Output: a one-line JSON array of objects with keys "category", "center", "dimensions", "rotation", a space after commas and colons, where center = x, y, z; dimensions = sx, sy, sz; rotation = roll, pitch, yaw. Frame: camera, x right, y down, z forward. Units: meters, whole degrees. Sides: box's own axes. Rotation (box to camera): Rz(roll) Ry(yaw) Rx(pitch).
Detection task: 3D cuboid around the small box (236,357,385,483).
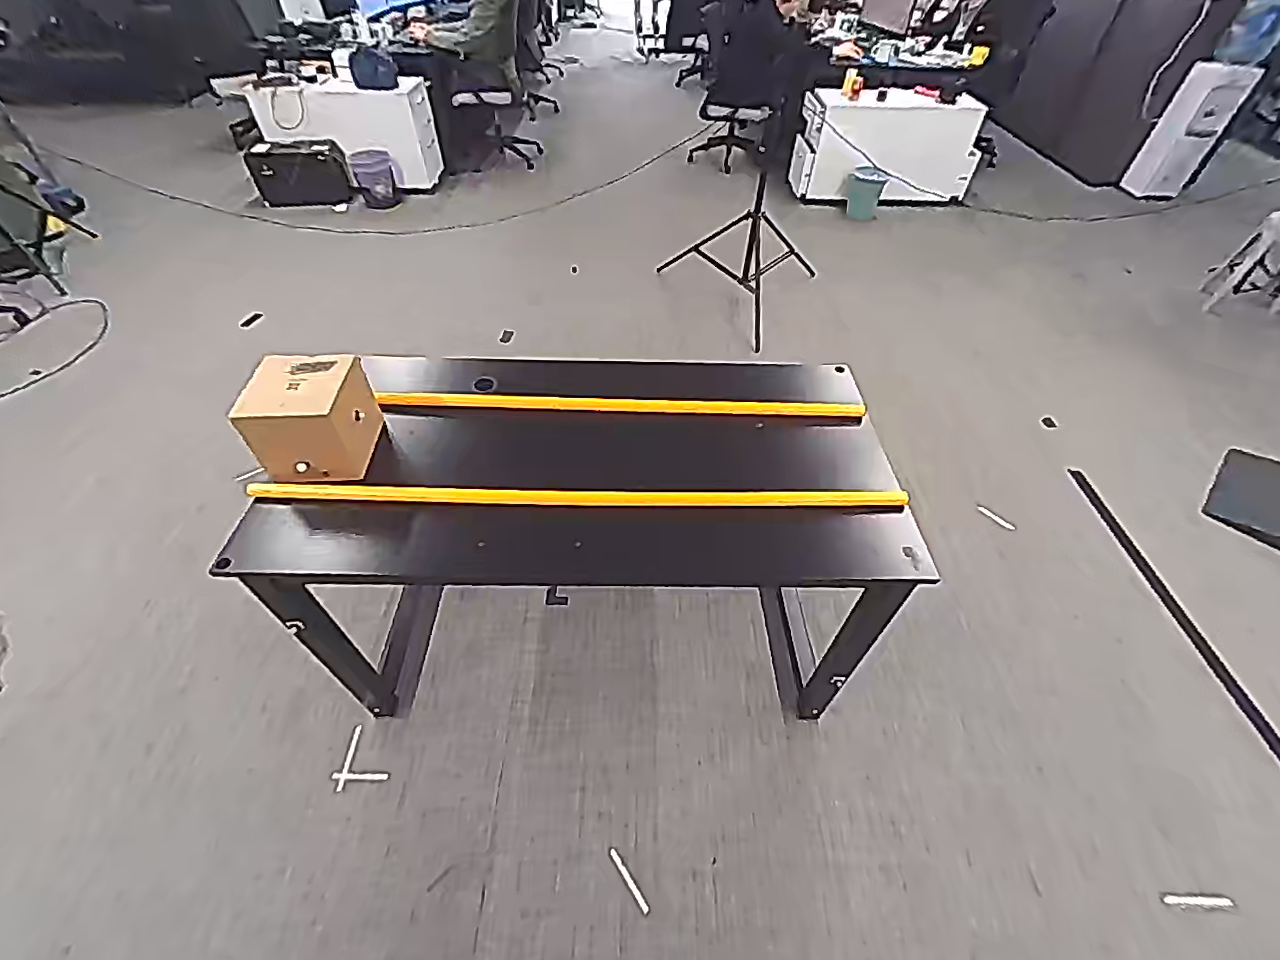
[{"category": "small box", "center": [-0.605, -0.114, 1.025], "dimensions": [0.168, 0.176, 0.179], "rotation": [-2, 49, -4]}]
